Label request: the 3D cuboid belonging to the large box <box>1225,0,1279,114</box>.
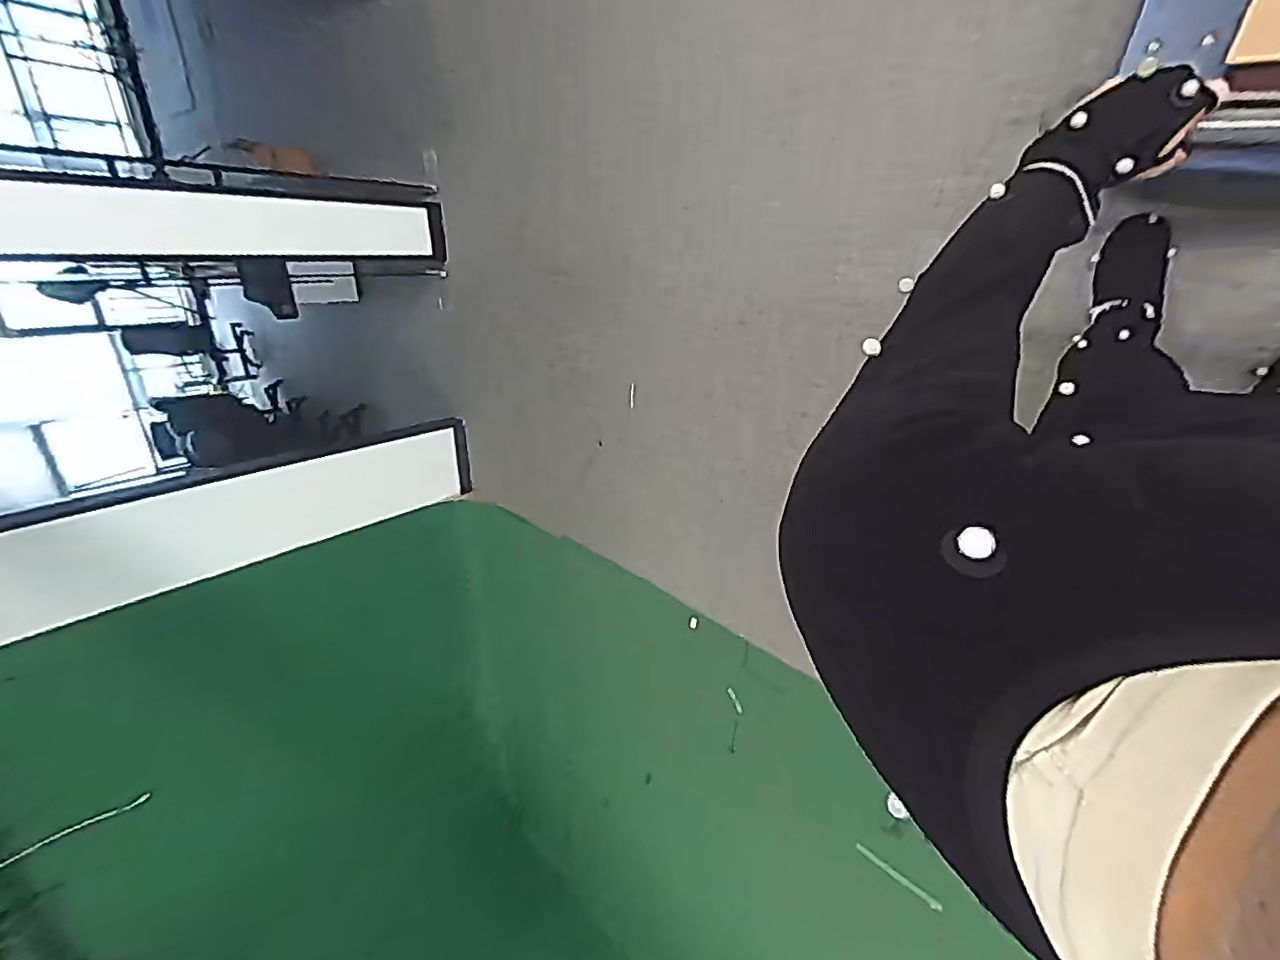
[{"bbox_3d":[0.991,-0.702,0.632,0.320,0.320,0.408,25,123,36],"label":"large box"}]
